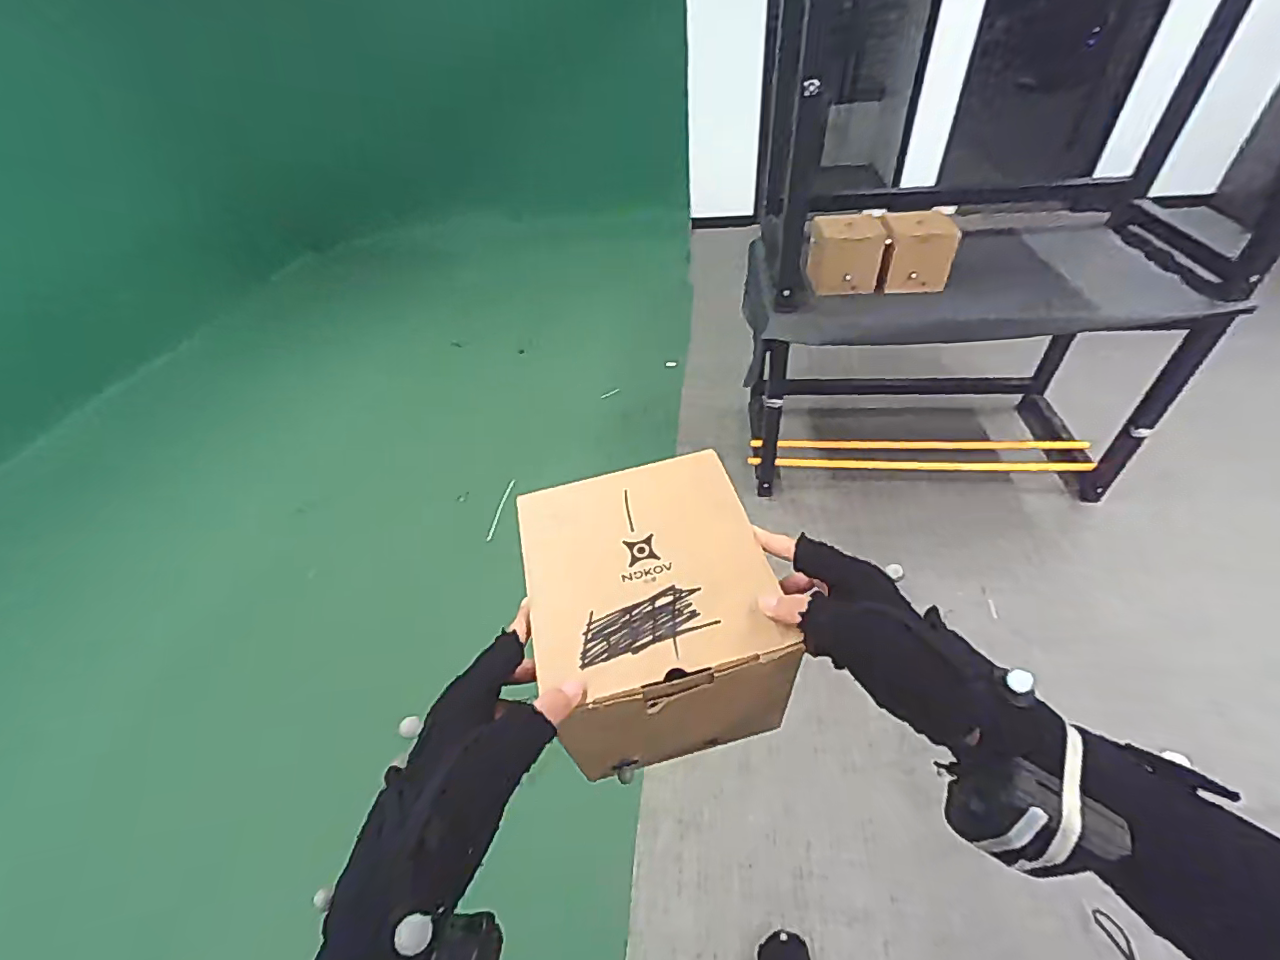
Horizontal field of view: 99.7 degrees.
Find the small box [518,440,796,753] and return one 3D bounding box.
[{"bbox_3d":[0.009,0.100,0.437,0.168,0.176,0.179,-13,48,-4],"label":"small box"}]

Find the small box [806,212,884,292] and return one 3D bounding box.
[{"bbox_3d":[0.591,-0.667,1.583,0.168,0.176,0.179,-1,44,6],"label":"small box"}]
